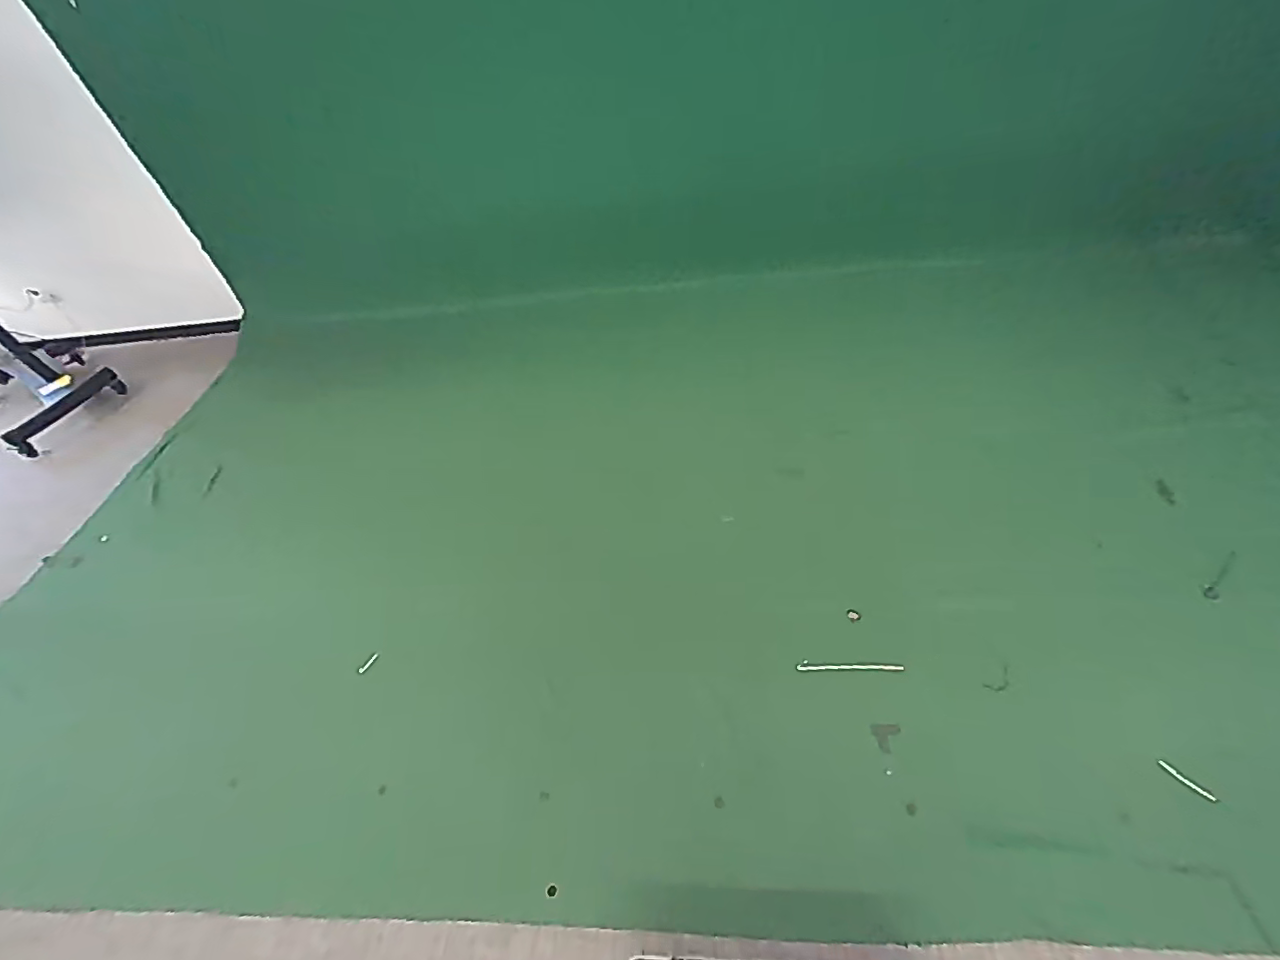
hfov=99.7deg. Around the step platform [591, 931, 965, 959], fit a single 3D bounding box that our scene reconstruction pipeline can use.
[{"bbox_3d":[0.246,0.992,0.951,0.684,0.204,0.286,-3,49,7],"label":"step platform"}]
